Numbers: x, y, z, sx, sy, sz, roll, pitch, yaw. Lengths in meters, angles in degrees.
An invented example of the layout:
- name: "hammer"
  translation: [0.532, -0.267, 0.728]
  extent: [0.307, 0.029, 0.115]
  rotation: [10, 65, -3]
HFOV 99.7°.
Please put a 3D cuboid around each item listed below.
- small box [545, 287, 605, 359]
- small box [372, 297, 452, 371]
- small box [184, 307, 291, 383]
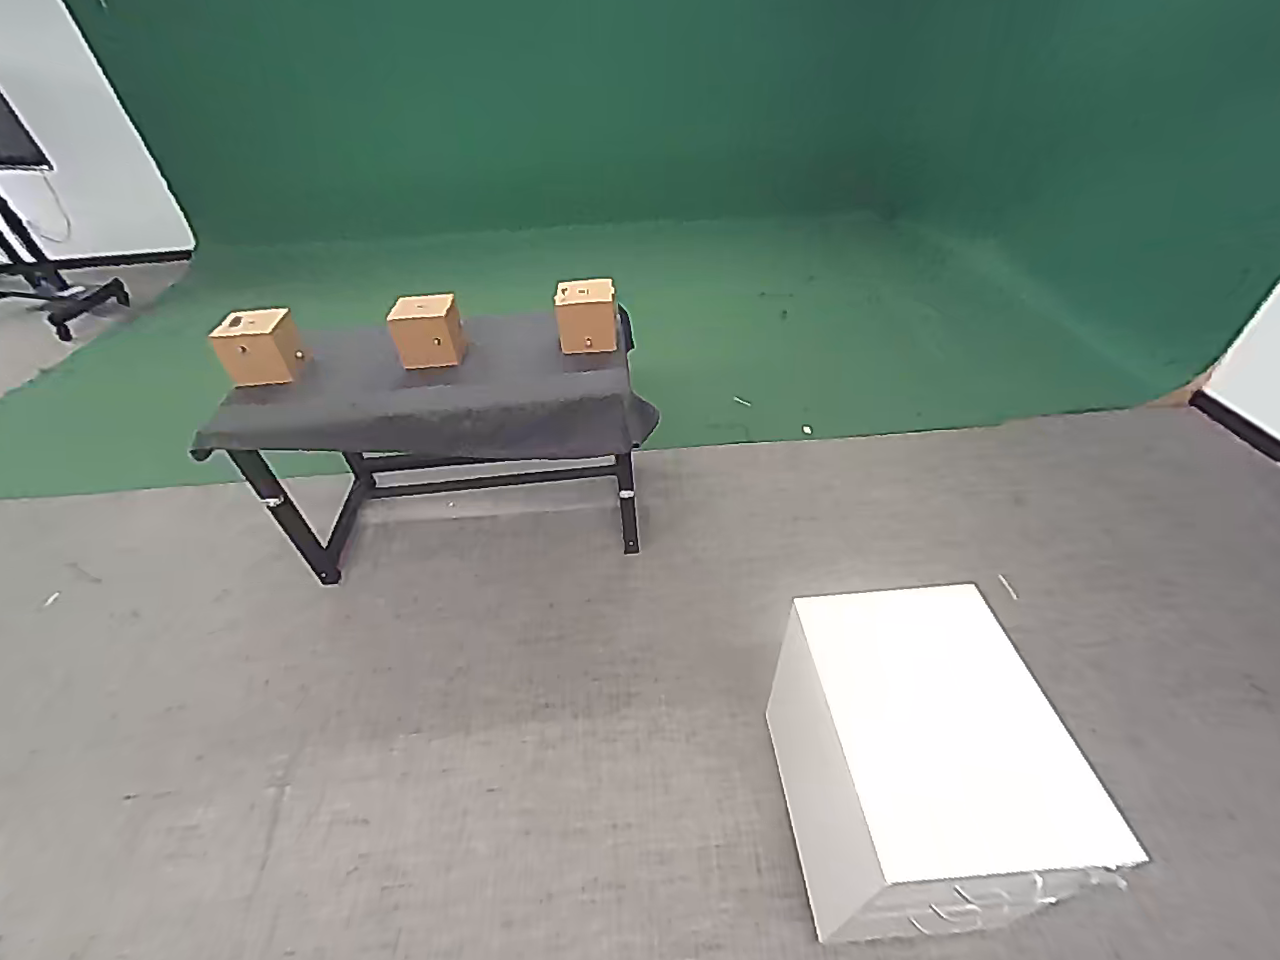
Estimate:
- name: "small box"
  translation: [-0.201, -0.499, 1.721]
  extent: [0.179, 0.176, 0.168]
  rotation: [-3, 41, -2]
- name: "small box"
  translation: [-0.697, -0.453, 1.678]
  extent: [0.179, 0.176, 0.168]
  rotation: [-5, 40, -4]
- name: "small box"
  translation: [-1.194, -0.402, 1.619]
  extent: [0.179, 0.176, 0.168]
  rotation: [-5, 41, -7]
